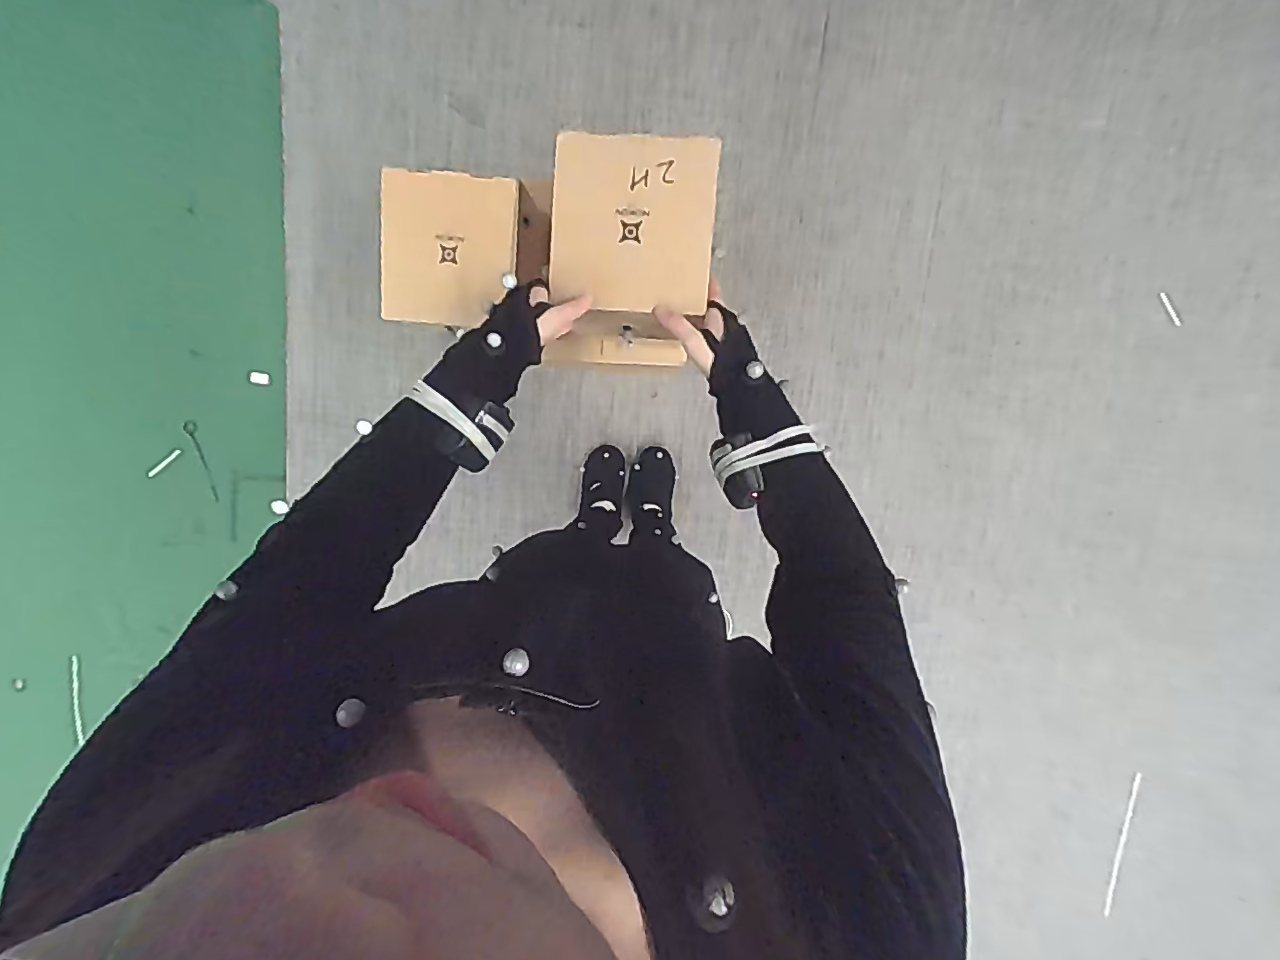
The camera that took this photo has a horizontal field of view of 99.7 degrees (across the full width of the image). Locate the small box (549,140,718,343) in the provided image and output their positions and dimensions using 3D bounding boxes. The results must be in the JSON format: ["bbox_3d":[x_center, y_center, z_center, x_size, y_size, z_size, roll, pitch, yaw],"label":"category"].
[{"bbox_3d":[-0.003,-0.265,0.642,0.168,0.176,0.179,6,96,3],"label":"small box"}]

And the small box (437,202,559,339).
[{"bbox_3d":[-0.223,-0.336,0.897,0.168,0.176,0.179,6,102,-1],"label":"small box"}]
